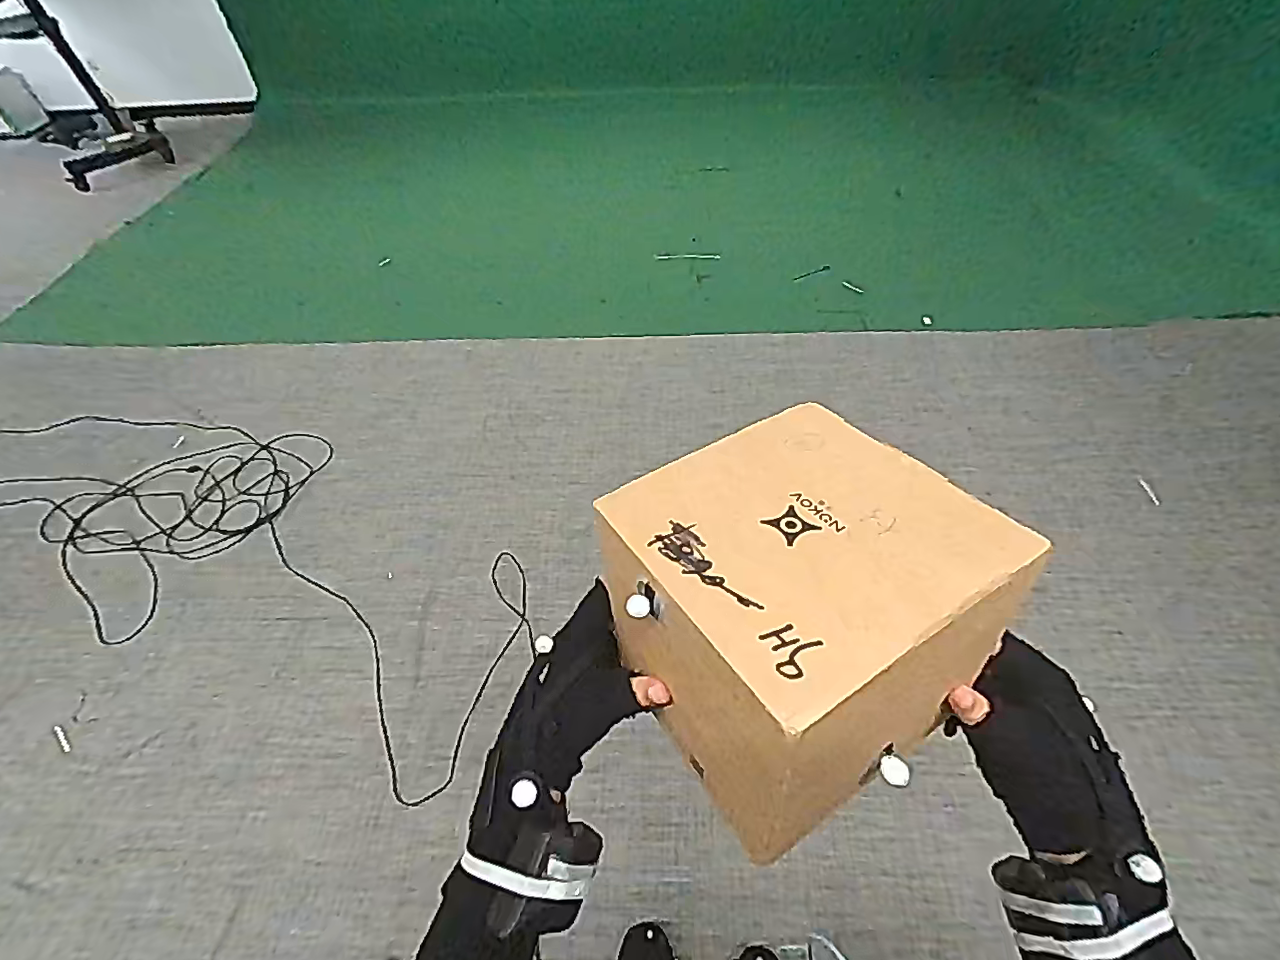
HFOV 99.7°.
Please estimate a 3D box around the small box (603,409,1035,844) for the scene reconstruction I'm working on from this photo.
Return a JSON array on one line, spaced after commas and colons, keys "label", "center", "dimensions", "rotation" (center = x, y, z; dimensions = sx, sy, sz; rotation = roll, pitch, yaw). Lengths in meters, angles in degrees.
[{"label": "small box", "center": [0.094, 0.085, 0.350], "dimensions": [0.179, 0.176, 0.168], "rotation": [-24, 43, -21]}]
